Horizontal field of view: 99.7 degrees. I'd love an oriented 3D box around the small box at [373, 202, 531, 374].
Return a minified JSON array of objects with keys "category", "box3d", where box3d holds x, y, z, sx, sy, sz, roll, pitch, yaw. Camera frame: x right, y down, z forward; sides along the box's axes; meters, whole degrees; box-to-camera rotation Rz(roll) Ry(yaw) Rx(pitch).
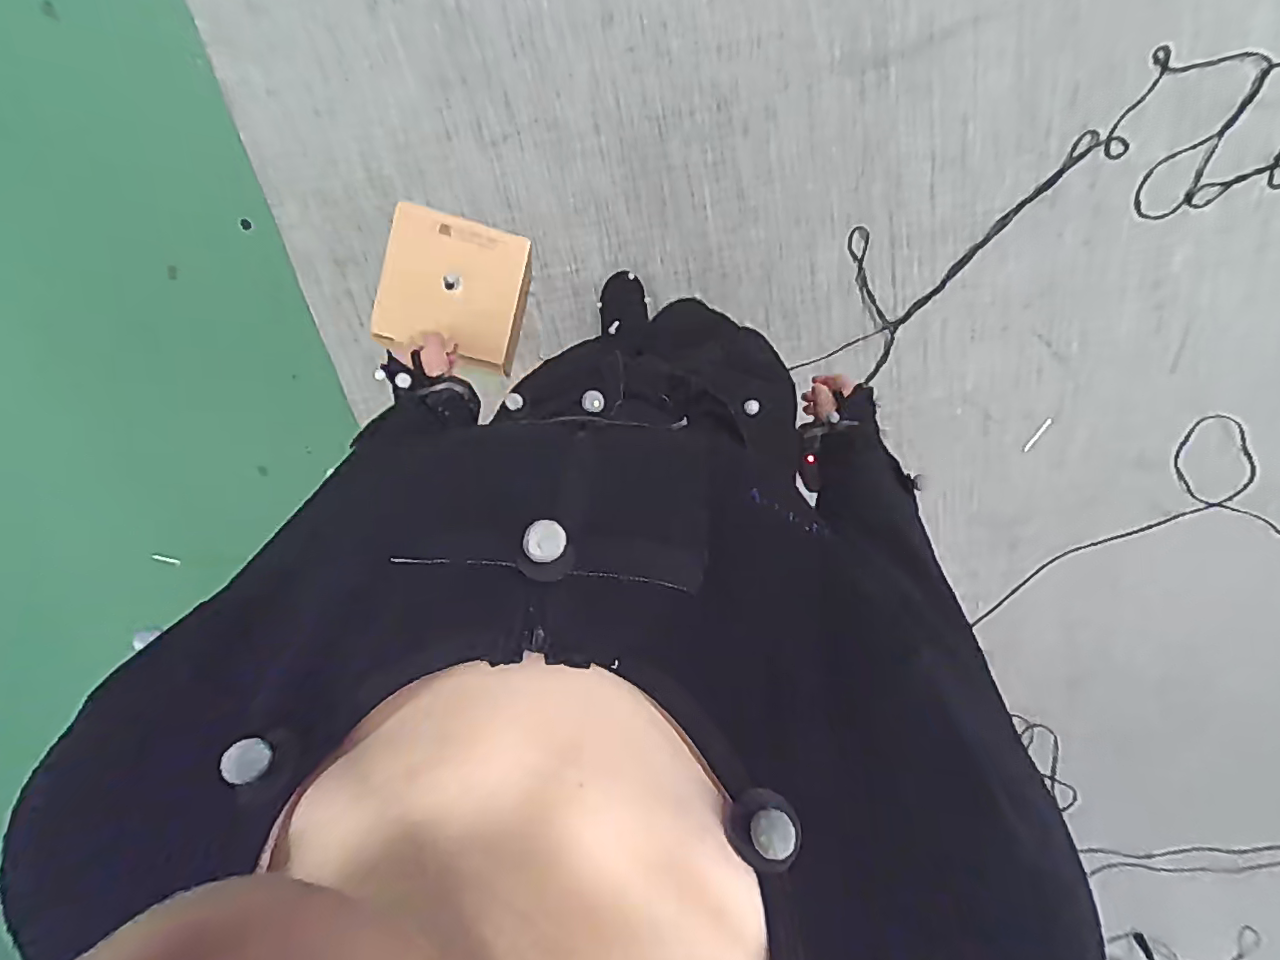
[{"category":"small box","box3d":[-0.252,-0.256,0.753,0.168,0.179,0.176,12,93,-13]}]
